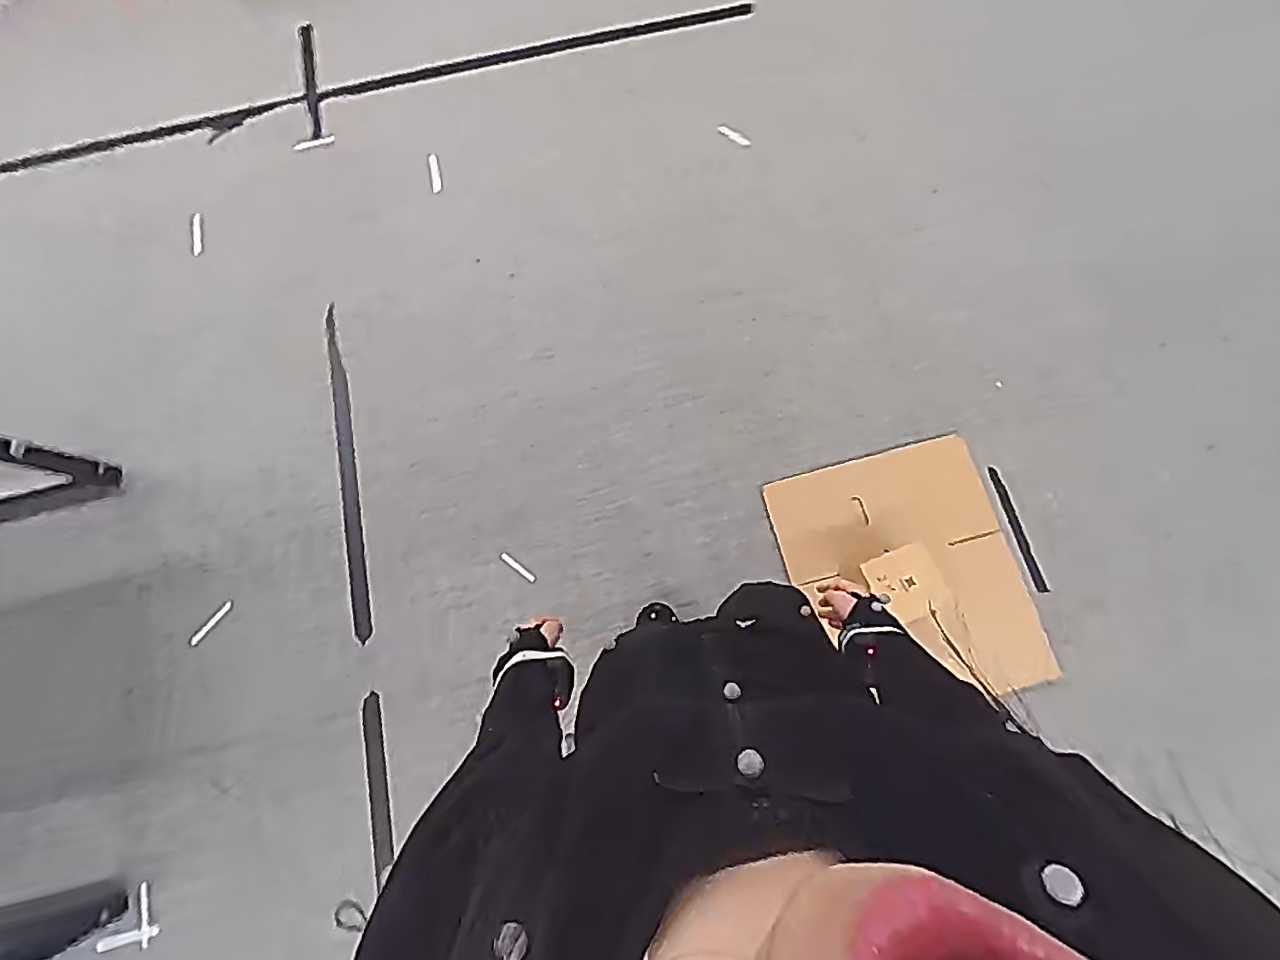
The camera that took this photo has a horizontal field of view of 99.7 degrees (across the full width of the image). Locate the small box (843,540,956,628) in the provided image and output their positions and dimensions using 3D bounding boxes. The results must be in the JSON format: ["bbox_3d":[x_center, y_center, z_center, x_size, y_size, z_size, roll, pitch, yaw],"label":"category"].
[{"bbox_3d":[0.656,0.268,1.388,0.179,0.176,0.168,-22,75,-3],"label":"small box"}]
